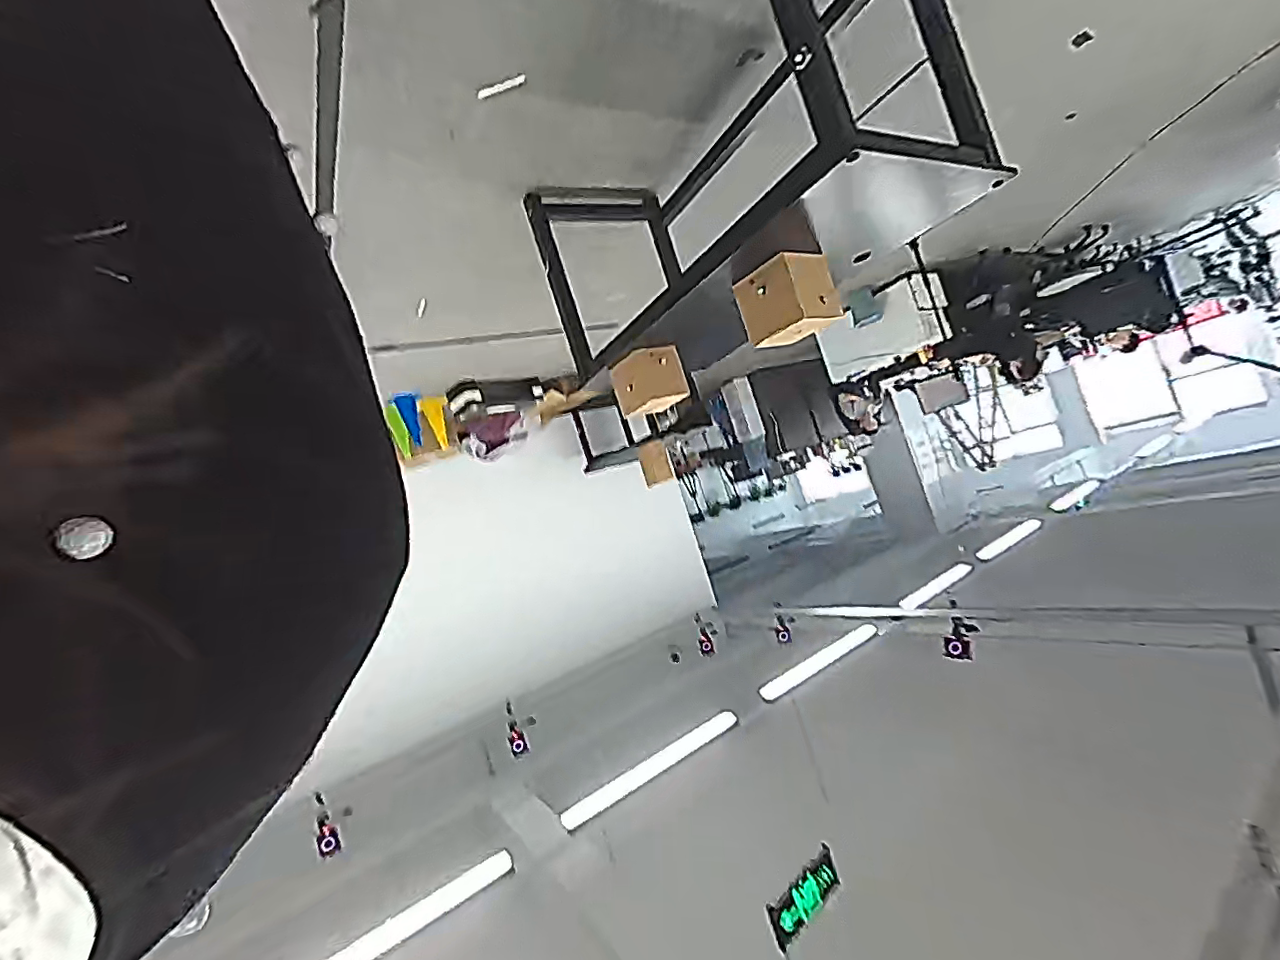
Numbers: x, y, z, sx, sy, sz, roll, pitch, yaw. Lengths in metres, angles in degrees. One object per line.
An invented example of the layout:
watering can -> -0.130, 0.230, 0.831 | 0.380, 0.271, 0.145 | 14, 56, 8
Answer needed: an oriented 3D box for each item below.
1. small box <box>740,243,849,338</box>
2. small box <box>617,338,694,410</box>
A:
small box -> 0.381, -0.469, 1.342 | 0.179, 0.176, 0.168 | -16, 177, -37
small box -> 0.042, -0.344, 1.749 | 0.168, 0.176, 0.179 | -17, 177, -34
